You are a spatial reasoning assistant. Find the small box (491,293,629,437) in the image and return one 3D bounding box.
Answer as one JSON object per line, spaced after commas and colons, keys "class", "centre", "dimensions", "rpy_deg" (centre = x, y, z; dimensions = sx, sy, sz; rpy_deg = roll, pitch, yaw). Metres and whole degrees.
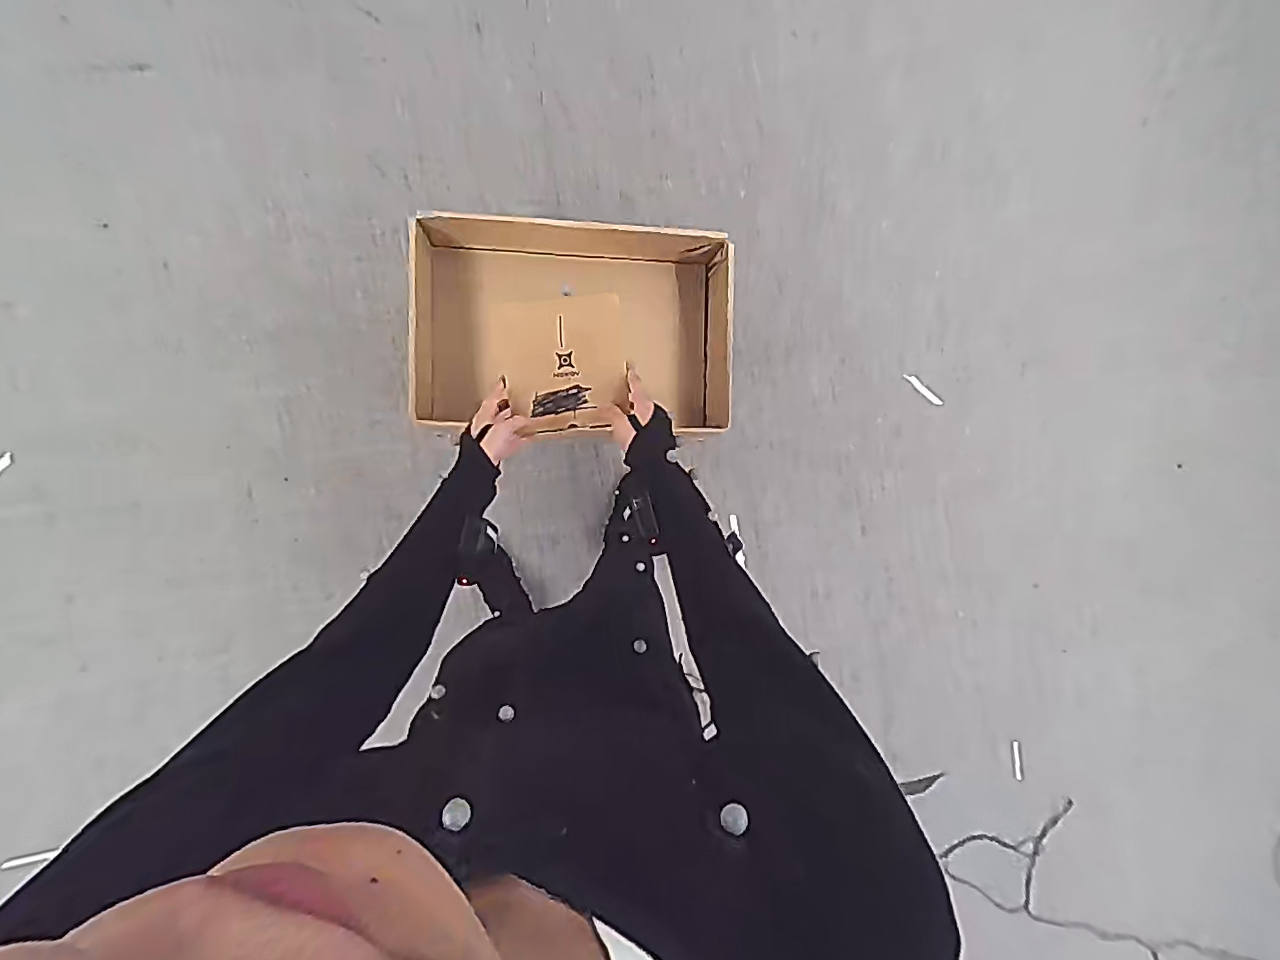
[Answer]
{"class": "small box", "centre": [-0.103, -0.172, 0.781], "dimensions": [0.168, 0.176, 0.179], "rpy_deg": [-5, 109, -1]}
